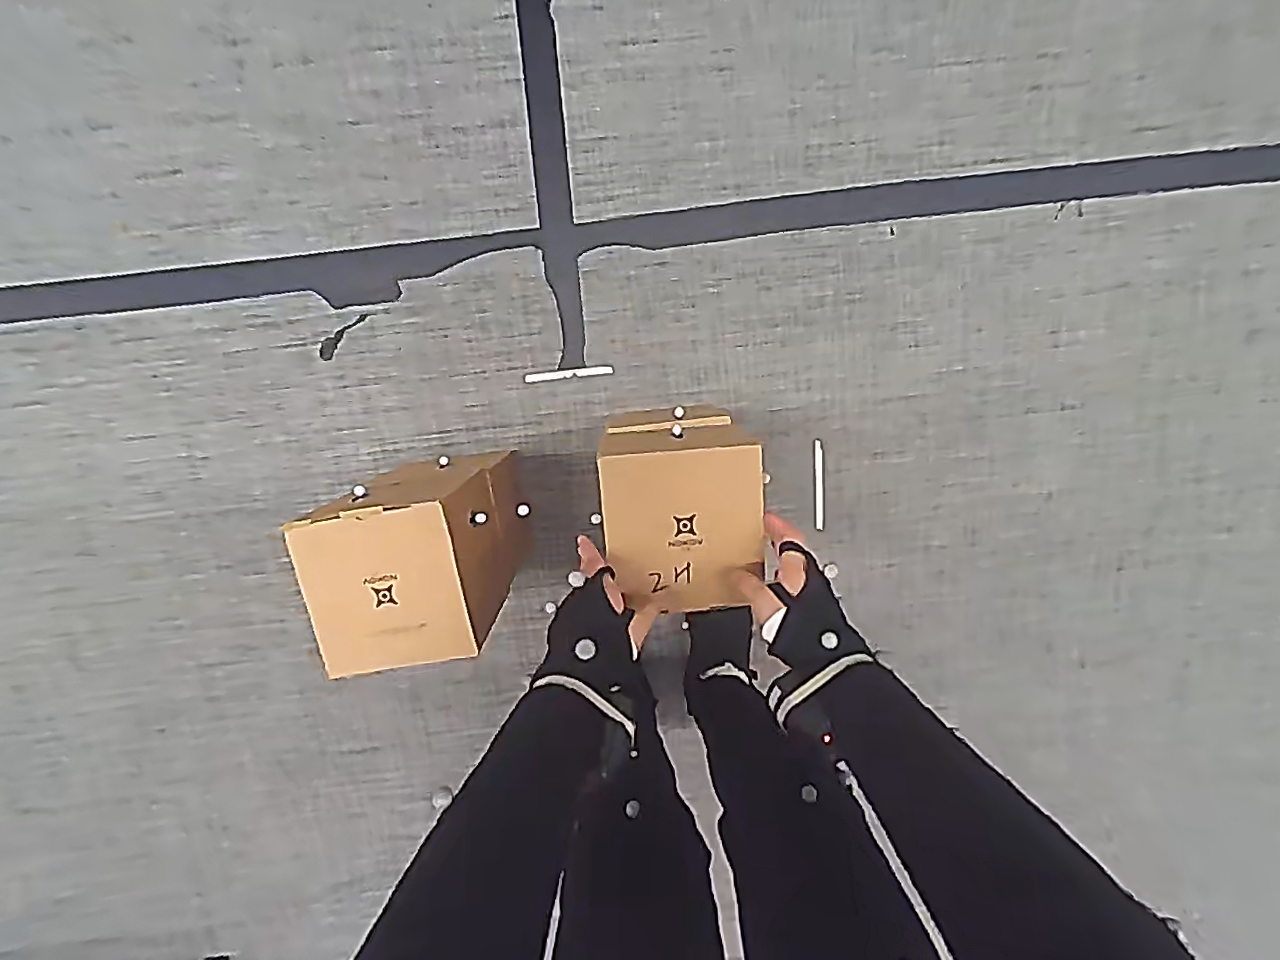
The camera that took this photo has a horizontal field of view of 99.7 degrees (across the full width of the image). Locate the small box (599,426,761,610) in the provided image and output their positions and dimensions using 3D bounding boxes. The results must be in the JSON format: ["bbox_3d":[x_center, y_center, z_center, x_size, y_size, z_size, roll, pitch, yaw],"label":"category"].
[{"bbox_3d":[0.041,0.032,0.637,0.168,0.176,0.179,-4,103,0],"label":"small box"}]

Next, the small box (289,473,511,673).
[{"bbox_3d":[-0.265,0.096,0.643,0.168,0.176,0.179,-10,104,2],"label":"small box"}]

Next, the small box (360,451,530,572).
[{"bbox_3d":[-0.274,0.059,0.801,0.179,0.176,0.168,-8,103,0],"label":"small box"}]

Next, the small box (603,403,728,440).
[{"bbox_3d":[0.039,-0.012,0.798,0.168,0.176,0.179,-6,103,0],"label":"small box"}]
